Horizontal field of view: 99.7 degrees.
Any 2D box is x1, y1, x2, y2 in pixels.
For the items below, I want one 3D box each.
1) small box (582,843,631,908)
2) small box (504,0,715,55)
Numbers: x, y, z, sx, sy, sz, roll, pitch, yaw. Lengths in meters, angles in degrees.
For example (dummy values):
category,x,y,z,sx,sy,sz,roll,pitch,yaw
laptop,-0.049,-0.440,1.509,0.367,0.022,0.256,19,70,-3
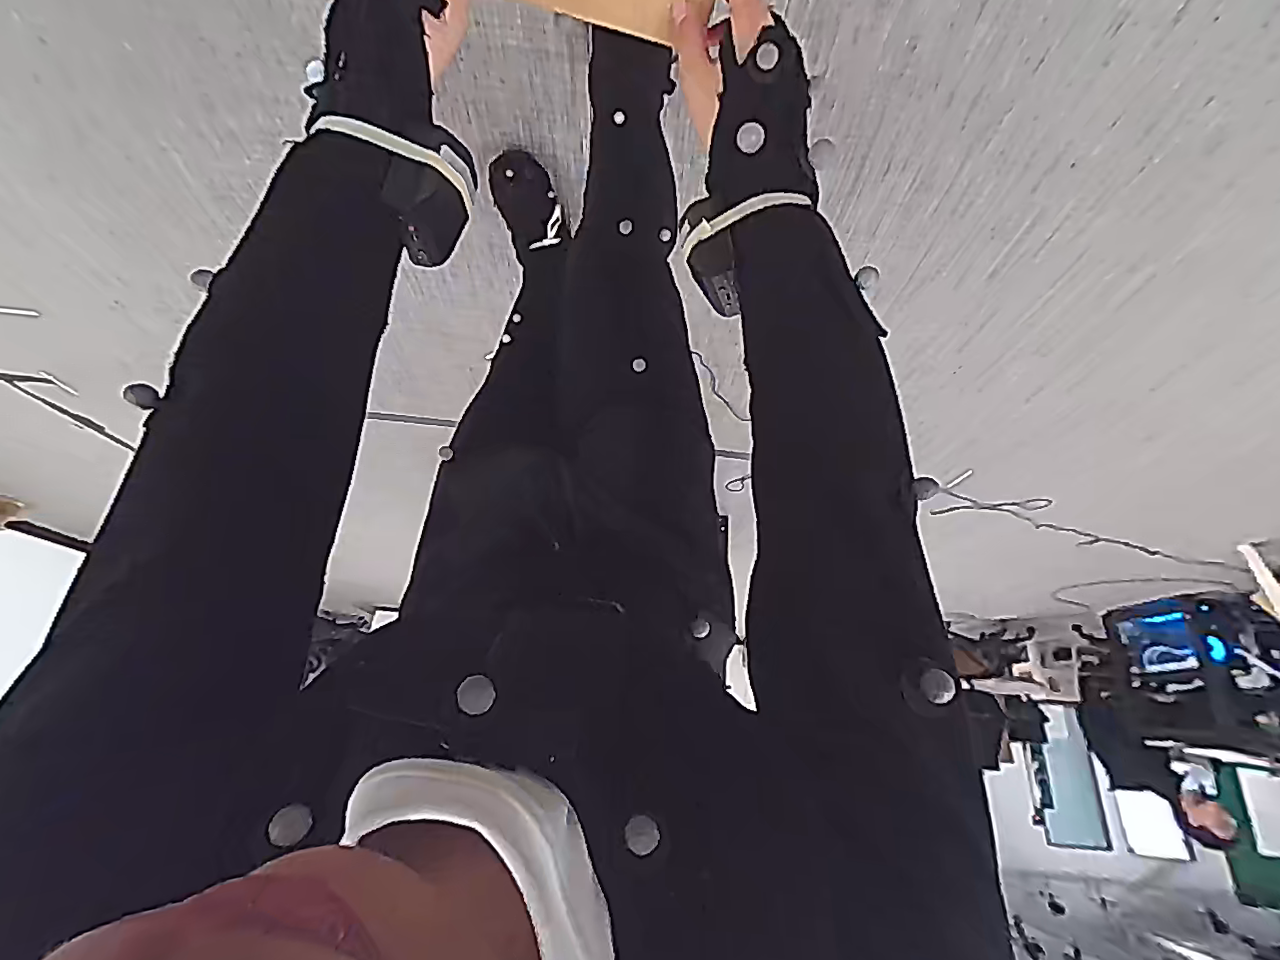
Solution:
category,x,y,z,sx,sy,sz,roll,pitch,yaw
small box,-0.130,1.583,2.172,0.179,0.176,0.168,5,156,3
small box,-0.025,-0.414,0.342,0.179,0.176,0.168,8,141,-10
